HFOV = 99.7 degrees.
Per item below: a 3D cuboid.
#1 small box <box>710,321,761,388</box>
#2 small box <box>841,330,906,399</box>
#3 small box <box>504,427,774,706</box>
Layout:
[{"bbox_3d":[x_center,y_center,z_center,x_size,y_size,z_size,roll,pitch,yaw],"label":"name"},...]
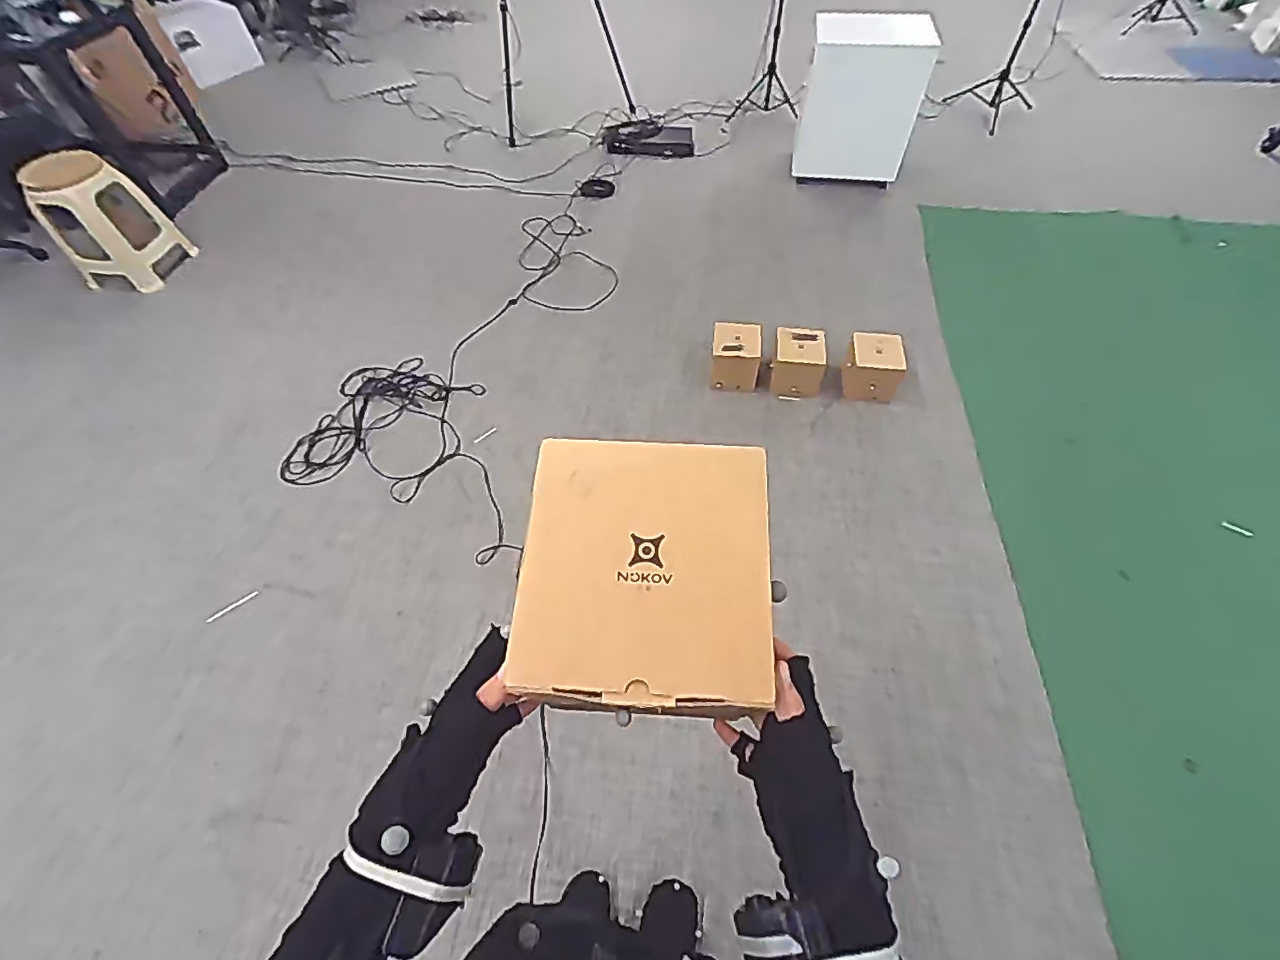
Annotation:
[{"bbox_3d":[0.345,-0.454,1.966,0.168,0.176,0.179,5,55,6],"label":"small box"},{"bbox_3d":[0.821,-0.406,1.917,0.168,0.176,0.179,6,56,6],"label":"small box"},{"bbox_3d":[0.005,0.077,0.430,0.168,0.176,0.179,2,65,3],"label":"small box"}]
